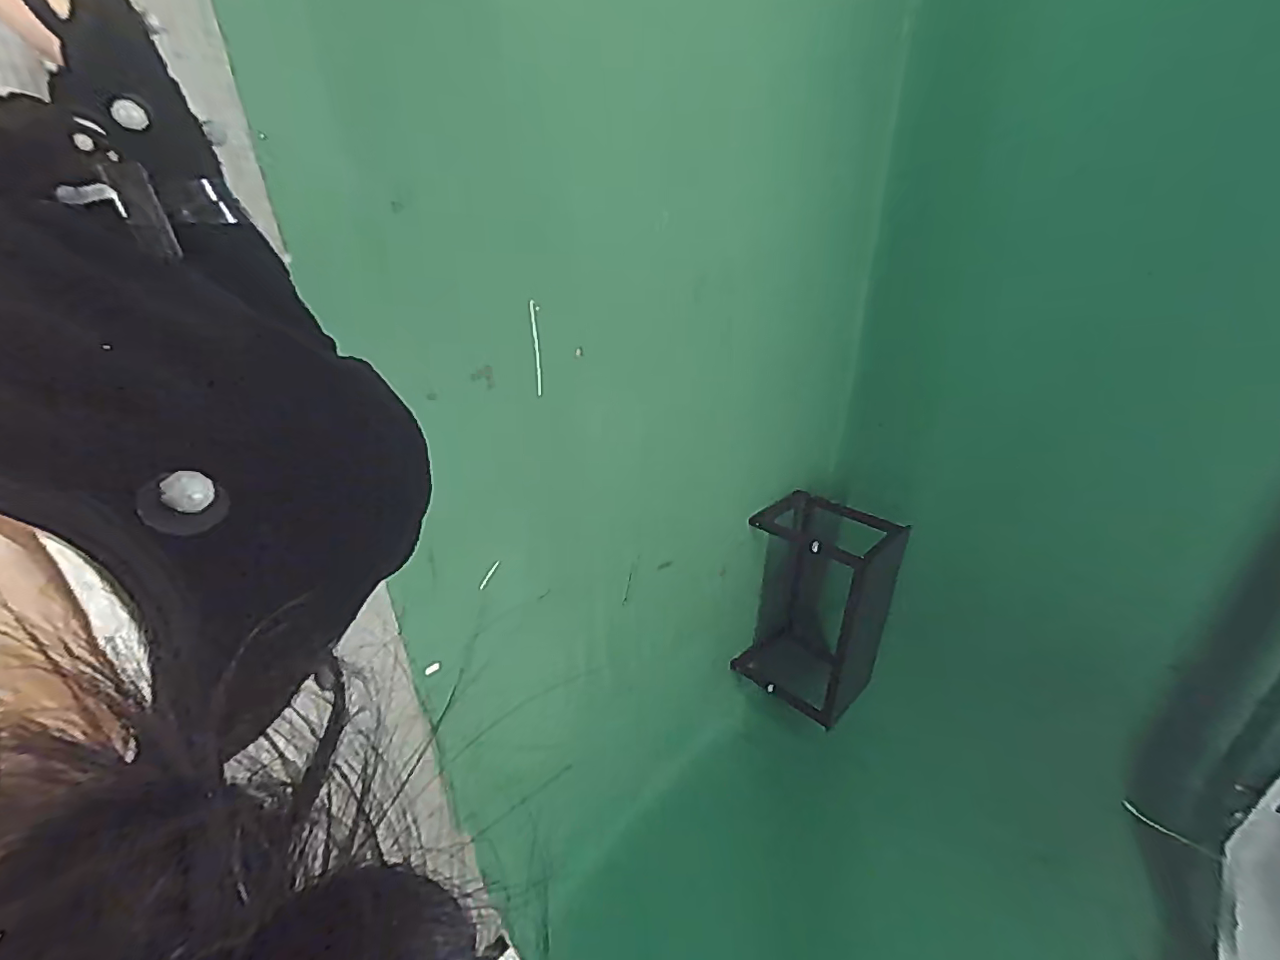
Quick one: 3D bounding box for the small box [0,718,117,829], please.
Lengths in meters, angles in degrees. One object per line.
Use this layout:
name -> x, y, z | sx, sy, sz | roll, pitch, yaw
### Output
small box -> -1.245, 0.641, 1.124 | 0.179, 0.176, 0.168 | -29, 126, -33
